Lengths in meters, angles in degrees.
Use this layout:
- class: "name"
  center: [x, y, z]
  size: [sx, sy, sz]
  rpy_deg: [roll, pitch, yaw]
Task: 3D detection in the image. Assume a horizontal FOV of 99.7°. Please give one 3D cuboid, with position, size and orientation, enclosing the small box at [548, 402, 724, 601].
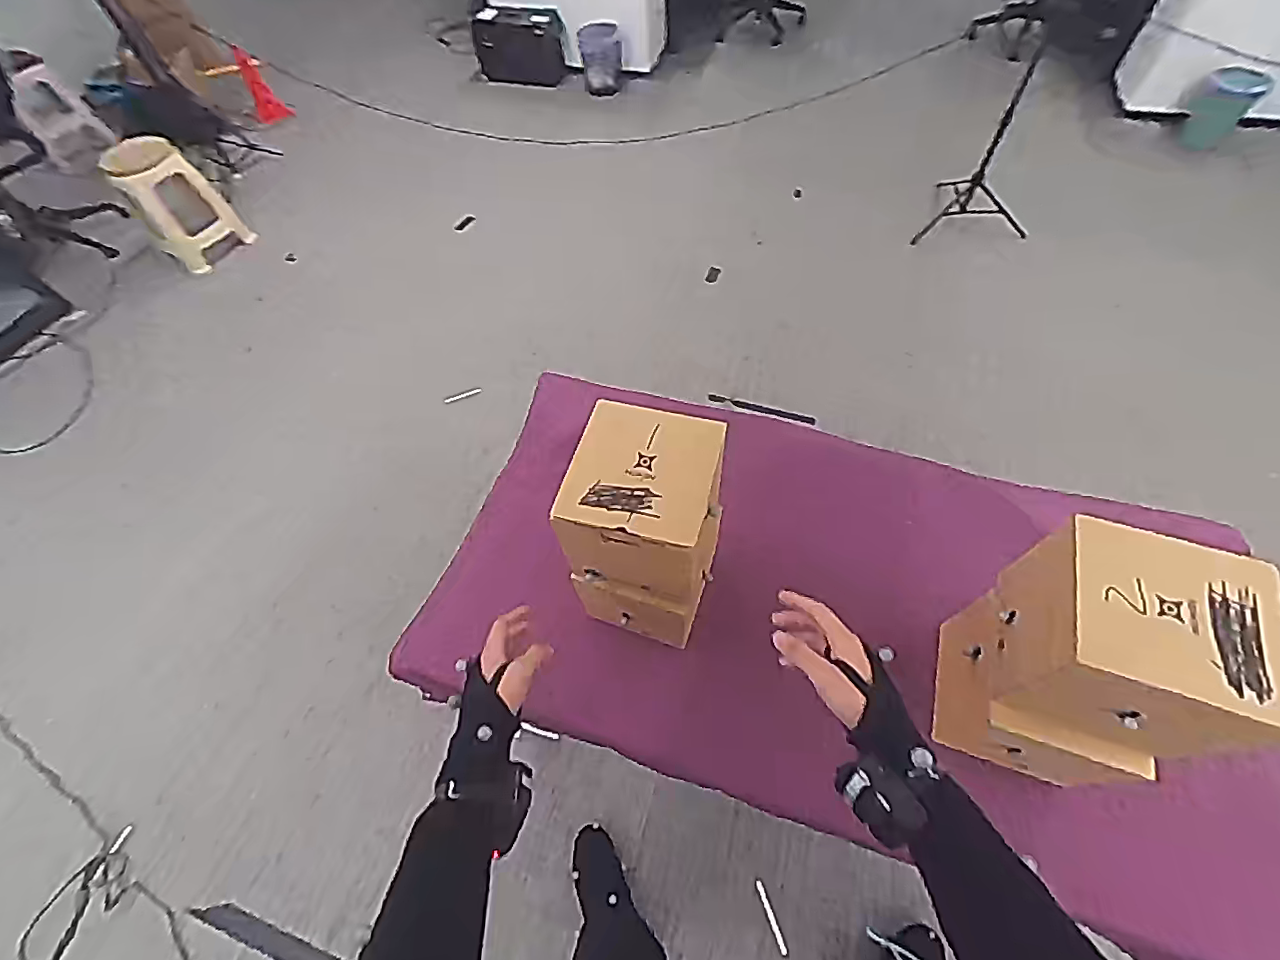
- class: "small box"
  center: [0.004, 0.033, 0.685]
  size: [0.168, 0.176, 0.179]
  rpy_deg: [13, 59, 11]

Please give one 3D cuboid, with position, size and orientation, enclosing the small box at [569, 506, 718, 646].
- class: "small box"
  center: [0.013, 0.130, 0.819]
  size: [0.168, 0.176, 0.179]
  rpy_deg: [16, 61, 12]

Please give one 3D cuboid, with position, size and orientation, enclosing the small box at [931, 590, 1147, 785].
- class: "small box"
  center: [0.499, 0.274, 0.703]
  size: [0.168, 0.176, 0.179]
  rpy_deg: [16, 60, 13]
